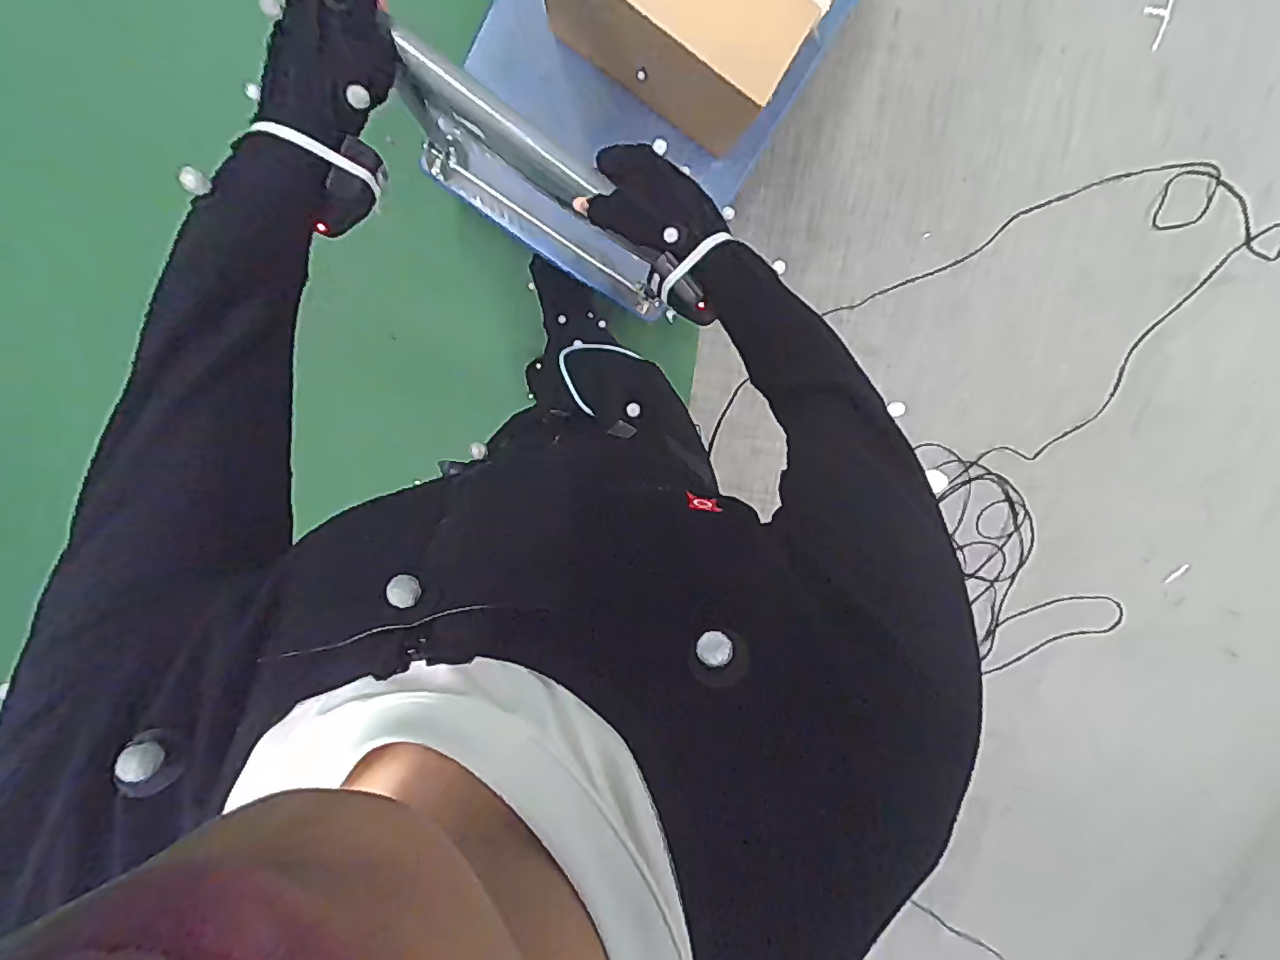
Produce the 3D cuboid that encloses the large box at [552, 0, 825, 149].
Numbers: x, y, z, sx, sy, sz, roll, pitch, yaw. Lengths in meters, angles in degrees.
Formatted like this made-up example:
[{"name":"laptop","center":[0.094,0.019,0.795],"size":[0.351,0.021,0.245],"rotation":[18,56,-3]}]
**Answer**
[{"name":"large box","center":[0.094,-0.846,0.901],"size":[0.408,0.320,0.320],"rotation":[29,103,-12]}]
